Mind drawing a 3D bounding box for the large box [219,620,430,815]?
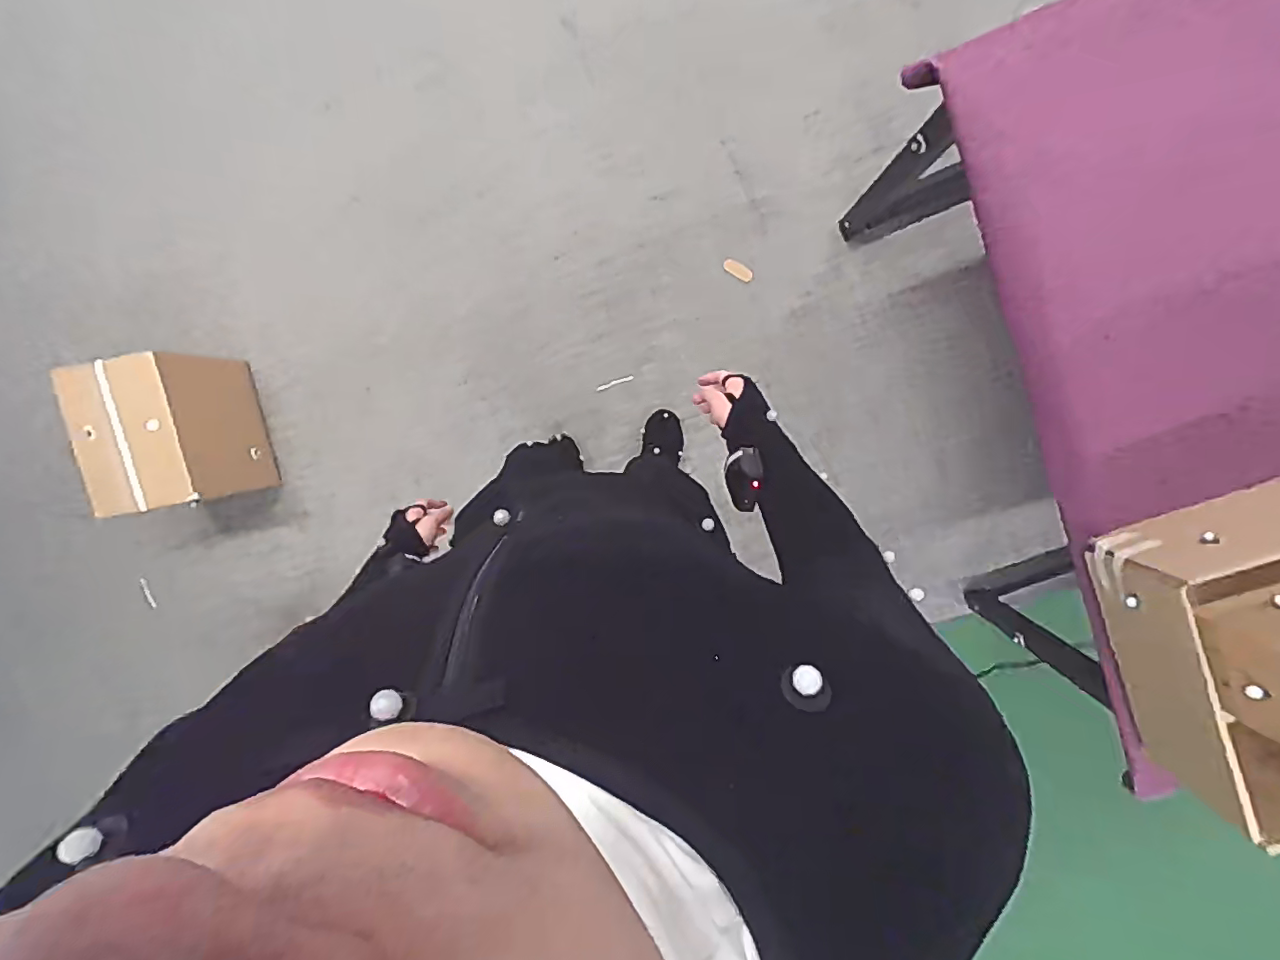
[{"bbox_3d":[-0.956,0.715,1.682,0.408,0.320,0.320,37,101,-2],"label":"large box"}]
